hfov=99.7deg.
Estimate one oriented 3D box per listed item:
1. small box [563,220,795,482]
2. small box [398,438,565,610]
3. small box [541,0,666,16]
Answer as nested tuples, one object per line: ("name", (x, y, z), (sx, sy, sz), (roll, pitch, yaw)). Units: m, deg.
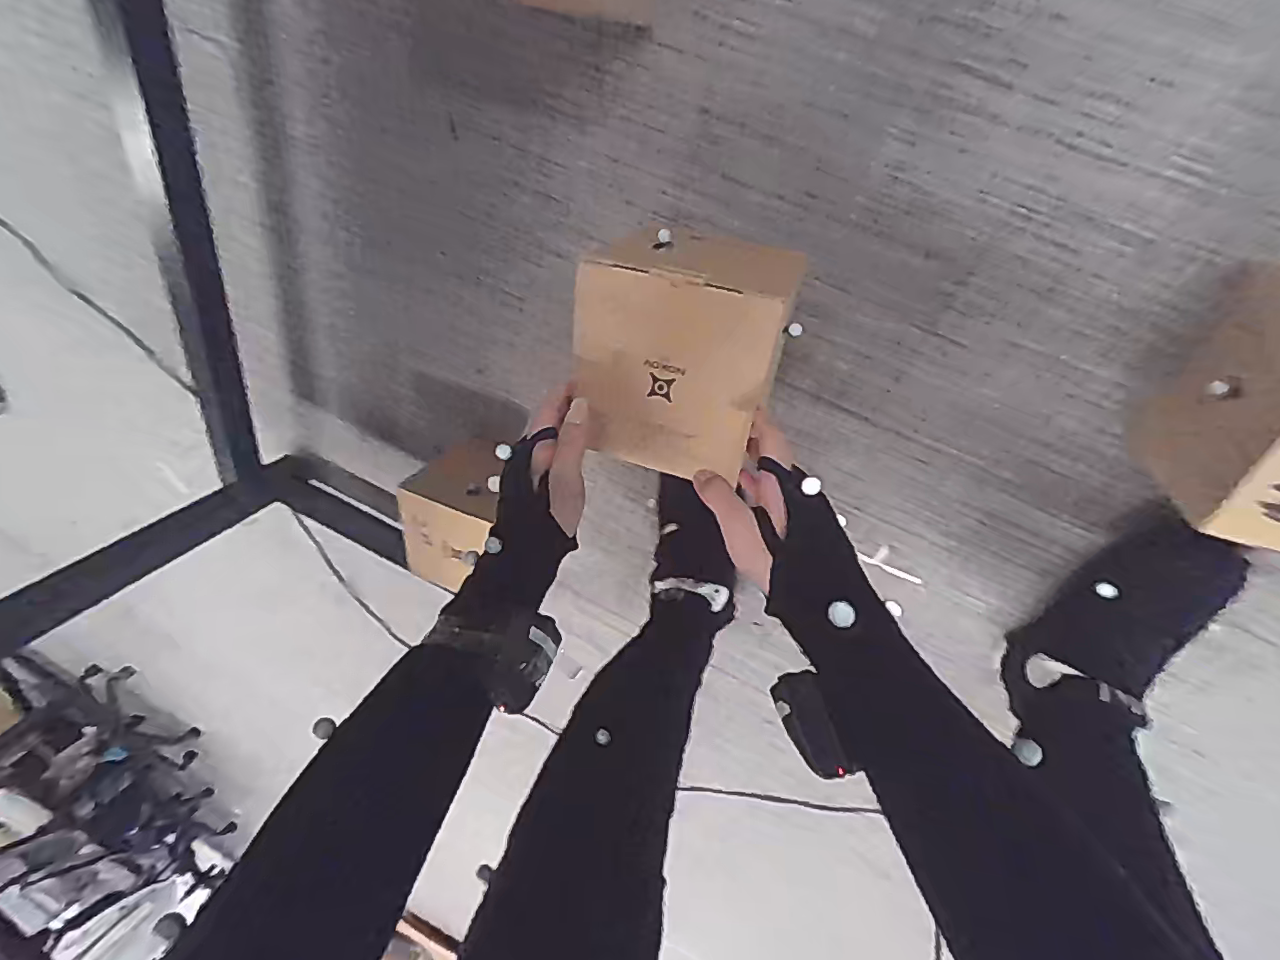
("small box", (0.040, -0.131, 0.506), (0.168, 0.176, 0.179), (16, 127, 12))
("small box", (-0.227, 0.057, 0.814), (0.179, 0.176, 0.168), (19, 125, 14))
("small box", (-0.071, -0.486, 0.414), (0.179, 0.176, 0.168), (21, 125, 13))
